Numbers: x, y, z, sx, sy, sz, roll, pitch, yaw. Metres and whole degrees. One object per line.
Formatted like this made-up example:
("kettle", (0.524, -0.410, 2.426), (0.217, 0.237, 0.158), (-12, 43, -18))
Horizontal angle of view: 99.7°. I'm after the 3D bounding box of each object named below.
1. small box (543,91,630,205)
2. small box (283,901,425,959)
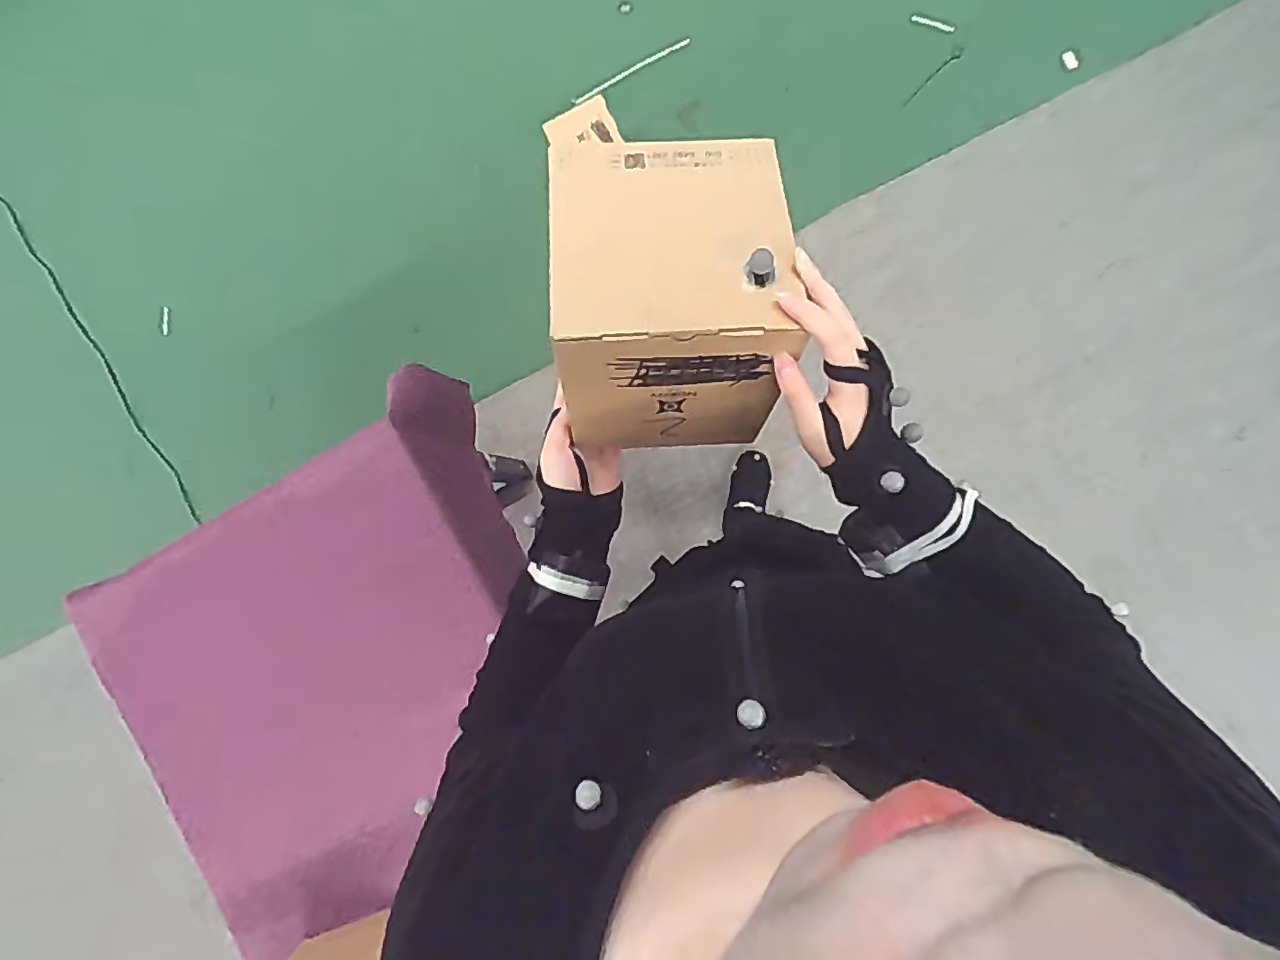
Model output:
("small box", (-0.135, -0.893, 1.470), (0.179, 0.176, 0.168), (-25, 86, 5))
("small box", (-0.408, 0.723, 0.723), (0.179, 0.176, 0.168), (-22, 87, 3))
